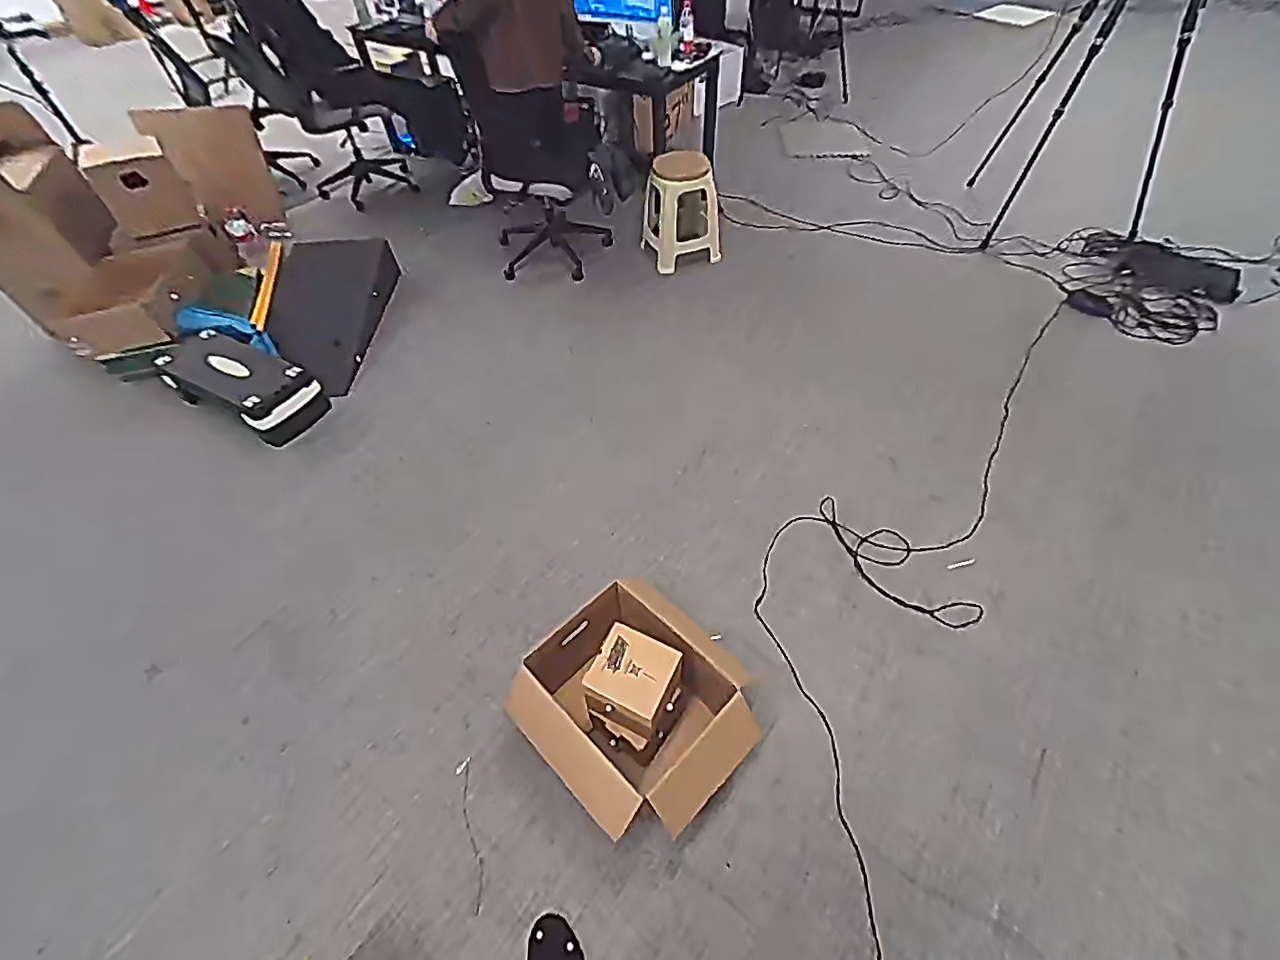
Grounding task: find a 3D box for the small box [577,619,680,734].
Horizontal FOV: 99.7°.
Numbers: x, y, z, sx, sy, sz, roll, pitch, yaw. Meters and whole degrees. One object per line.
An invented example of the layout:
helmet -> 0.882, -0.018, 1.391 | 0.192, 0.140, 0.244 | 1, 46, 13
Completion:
small box -> -0.021, 0.463, 1.260 | 0.179, 0.176, 0.168 | 23, 57, 21
